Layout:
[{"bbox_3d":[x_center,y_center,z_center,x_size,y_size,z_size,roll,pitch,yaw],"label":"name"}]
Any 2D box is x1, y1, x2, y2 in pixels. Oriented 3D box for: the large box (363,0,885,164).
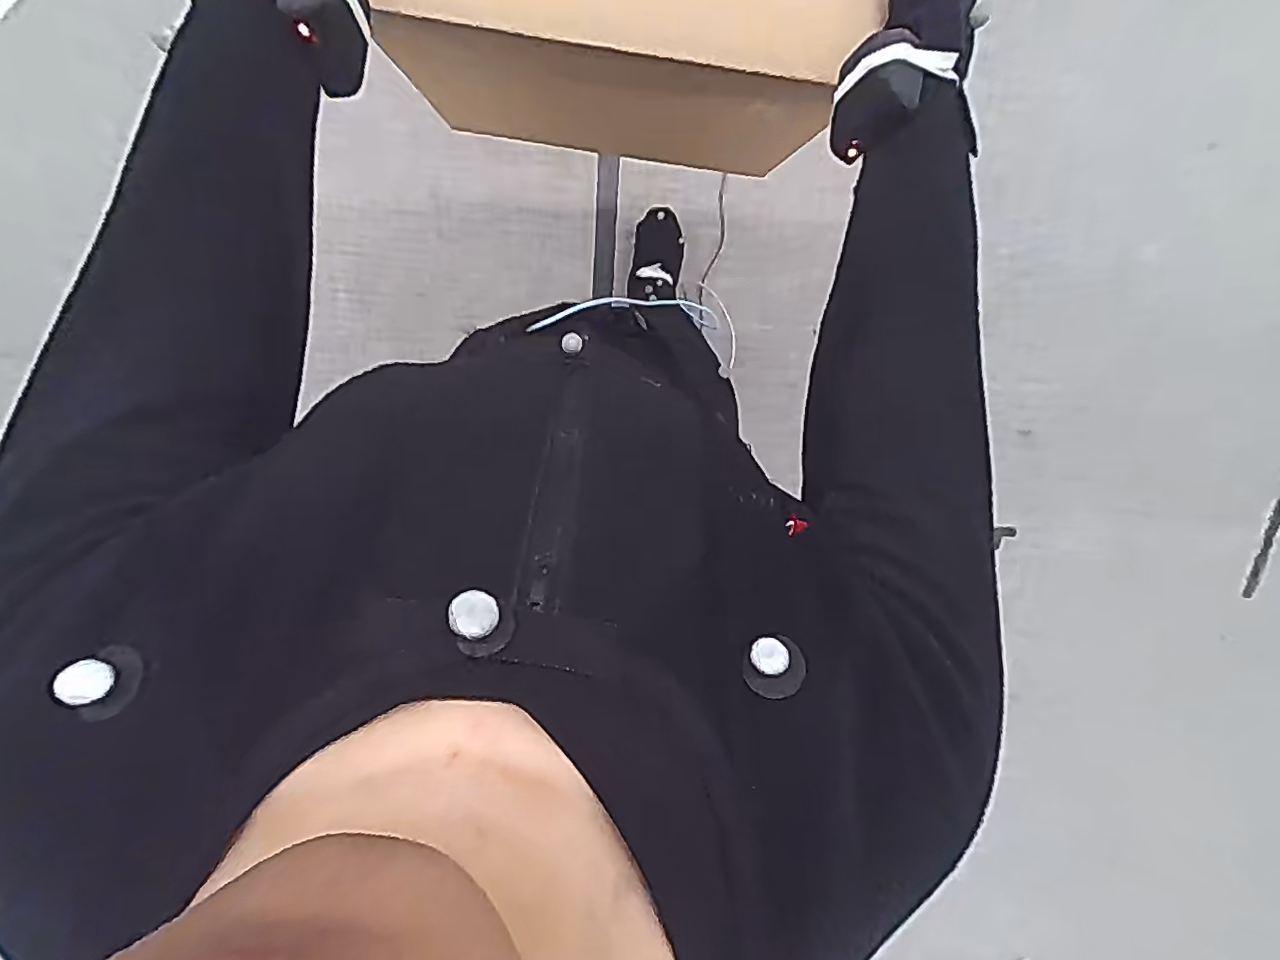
[{"bbox_3d":[-0.008,-0.526,0.510,0.408,0.320,0.320,5,109,-6],"label":"large box"}]
